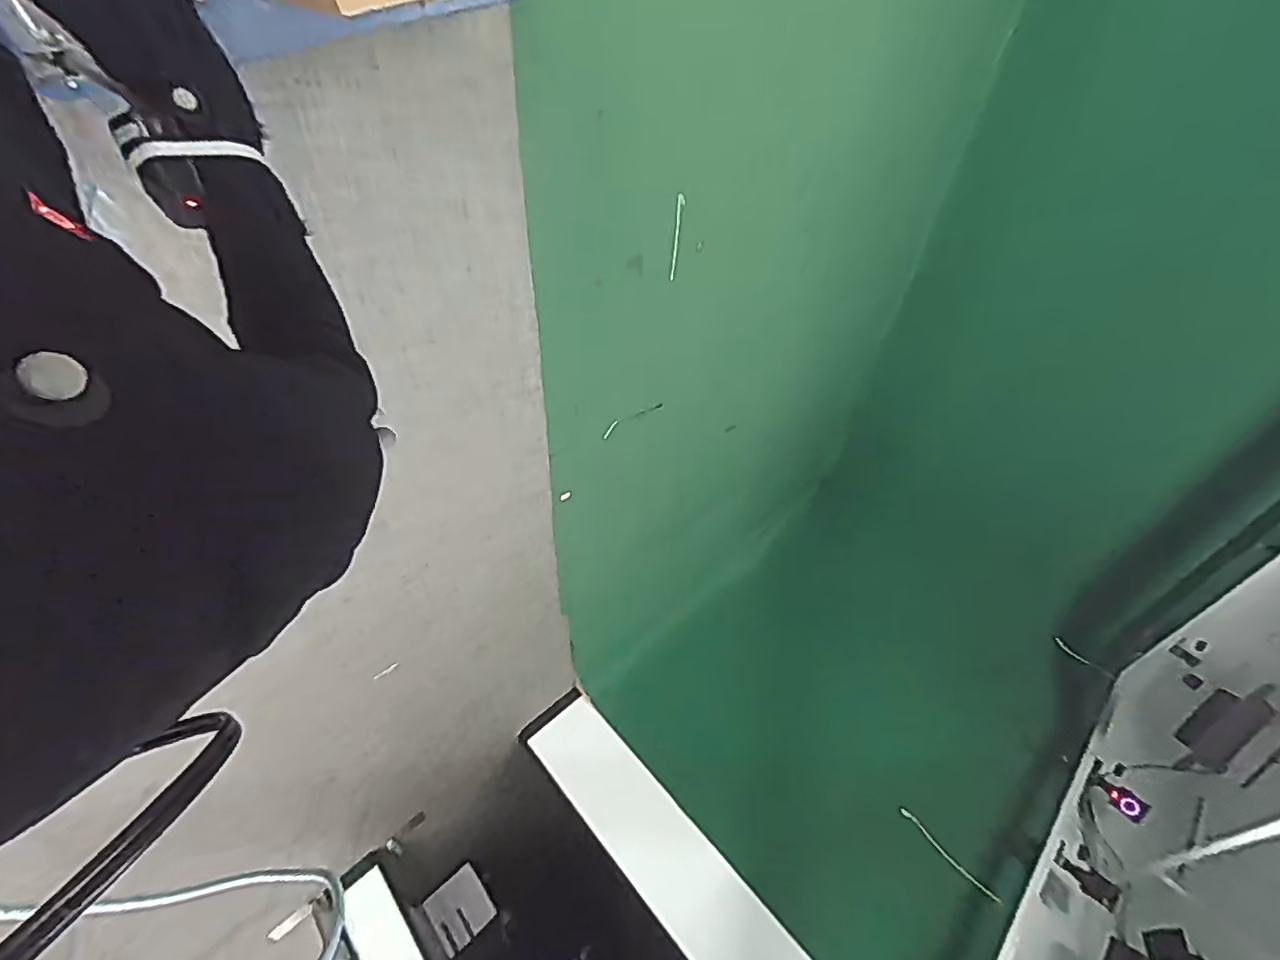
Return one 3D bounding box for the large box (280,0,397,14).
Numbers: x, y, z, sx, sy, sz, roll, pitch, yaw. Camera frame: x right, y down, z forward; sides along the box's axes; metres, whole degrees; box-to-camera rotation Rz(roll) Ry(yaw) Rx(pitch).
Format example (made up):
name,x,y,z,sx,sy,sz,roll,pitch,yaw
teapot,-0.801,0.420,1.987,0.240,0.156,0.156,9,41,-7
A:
name,x,y,z,sx,sy,sz,roll,pitch,yaw
large box,-0.415,-0.922,0.717,0.320,0.320,0.408,-38,146,-23
